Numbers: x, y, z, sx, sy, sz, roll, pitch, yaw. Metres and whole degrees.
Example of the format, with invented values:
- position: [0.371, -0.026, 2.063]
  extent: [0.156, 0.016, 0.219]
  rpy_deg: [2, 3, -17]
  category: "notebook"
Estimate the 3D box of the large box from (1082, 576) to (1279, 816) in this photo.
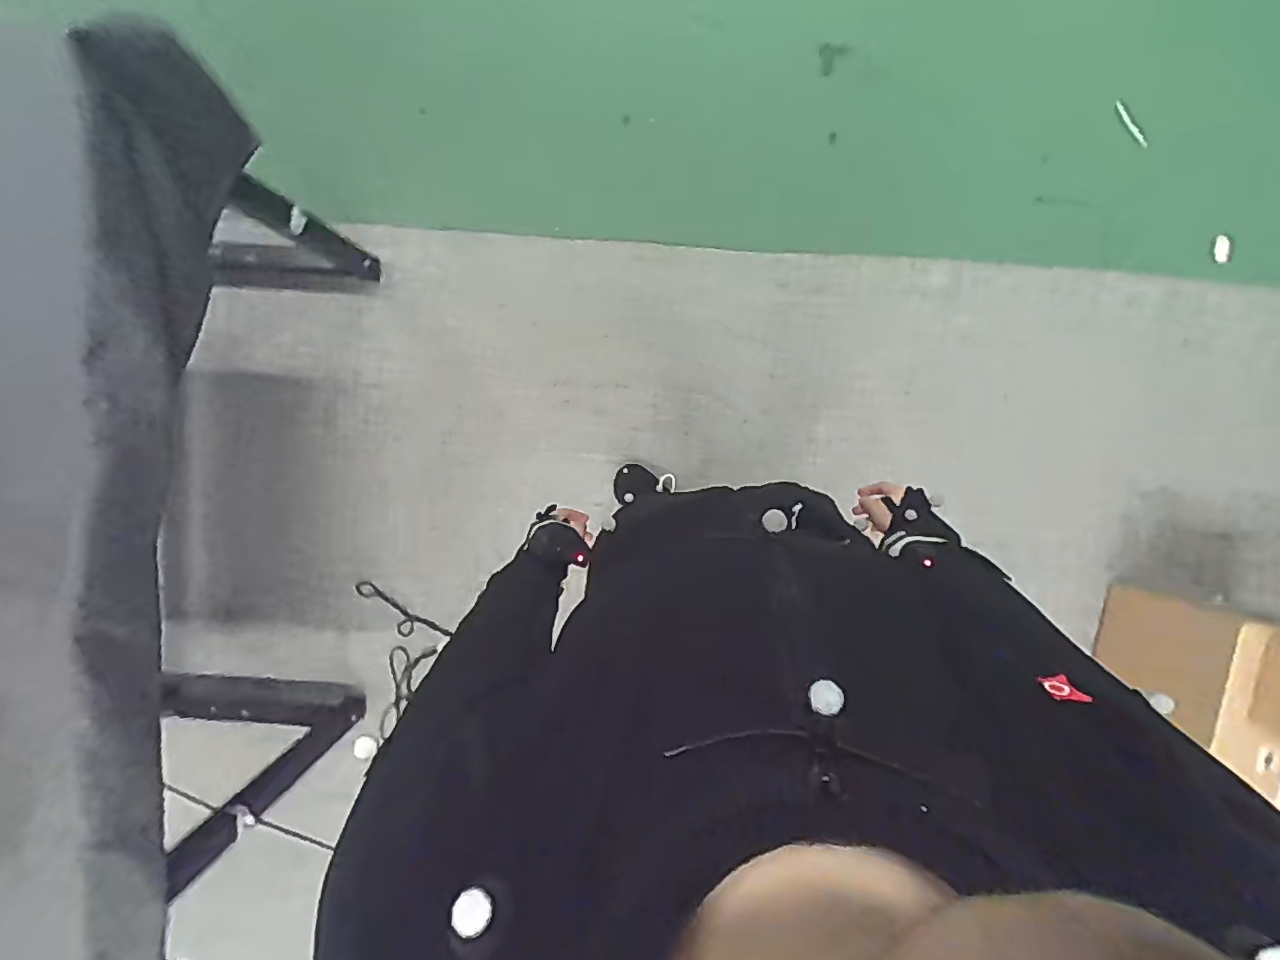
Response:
- position: [1.299, 0.462, 1.218]
  extent: [0.320, 0.320, 0.408]
  rpy_deg: [8, 96, 1]
  category: "large box"
